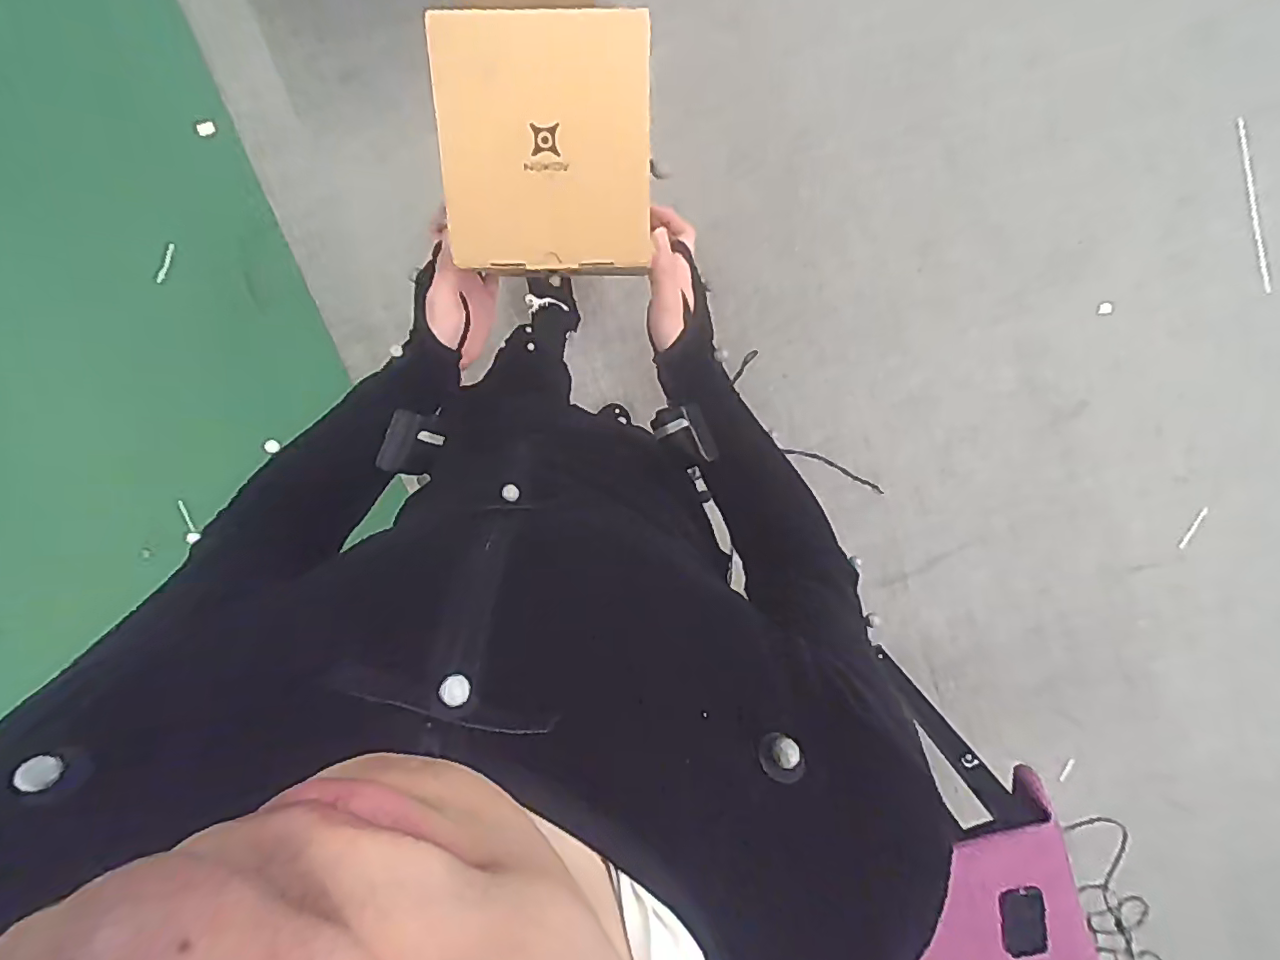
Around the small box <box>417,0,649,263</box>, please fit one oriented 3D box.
[{"bbox_3d":[-0.078,-0.291,0.483,0.168,0.176,0.179,-1,111,-1],"label":"small box"}]
